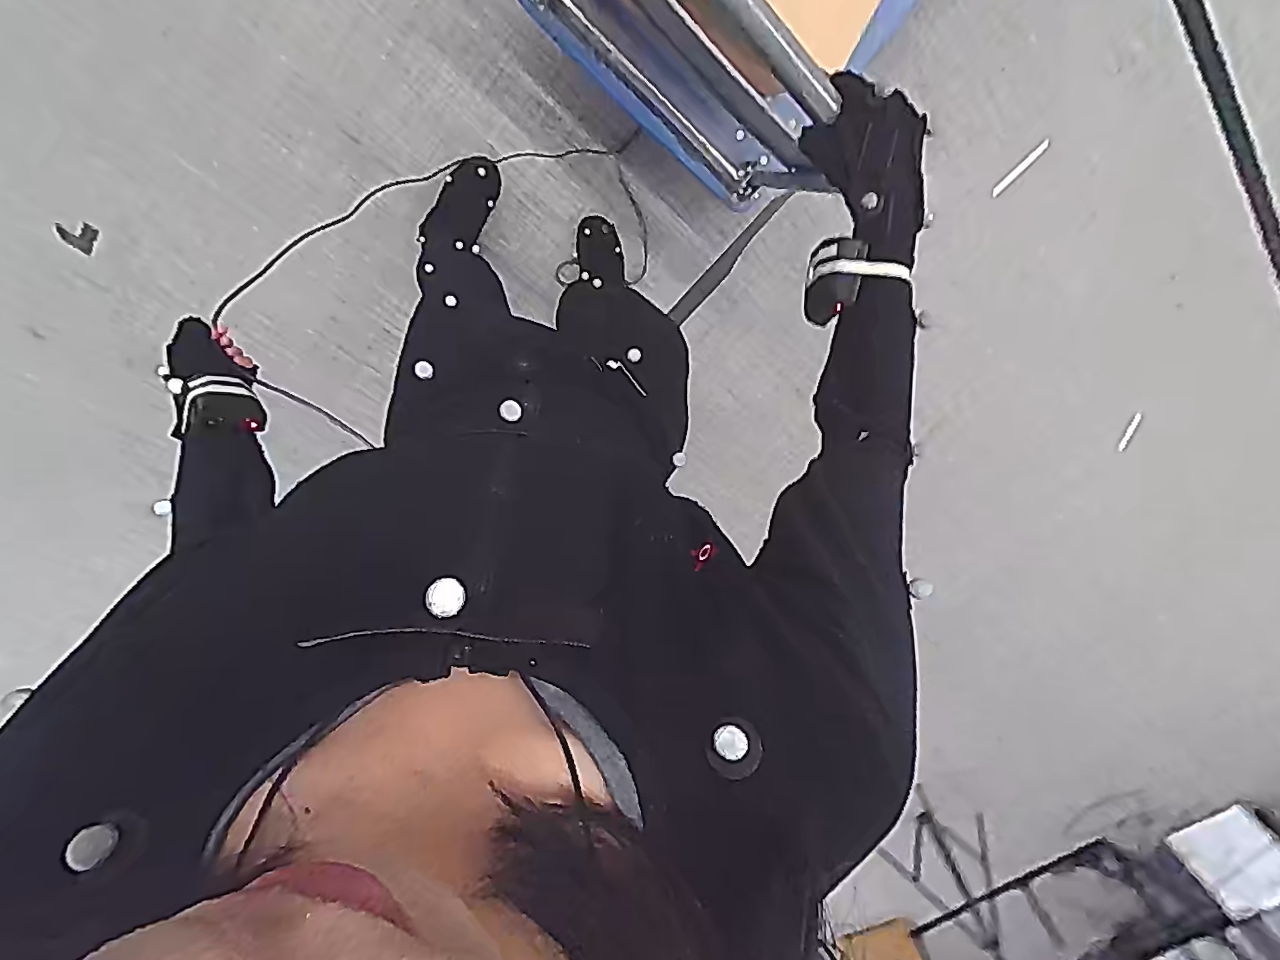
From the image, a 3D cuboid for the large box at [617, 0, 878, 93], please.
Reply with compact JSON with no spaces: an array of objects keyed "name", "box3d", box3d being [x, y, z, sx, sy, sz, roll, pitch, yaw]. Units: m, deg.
[{"name":"large box","box3d":[0.157,-0.850,0.794,0.408,0.320,0.320,19,117,-18]}]
